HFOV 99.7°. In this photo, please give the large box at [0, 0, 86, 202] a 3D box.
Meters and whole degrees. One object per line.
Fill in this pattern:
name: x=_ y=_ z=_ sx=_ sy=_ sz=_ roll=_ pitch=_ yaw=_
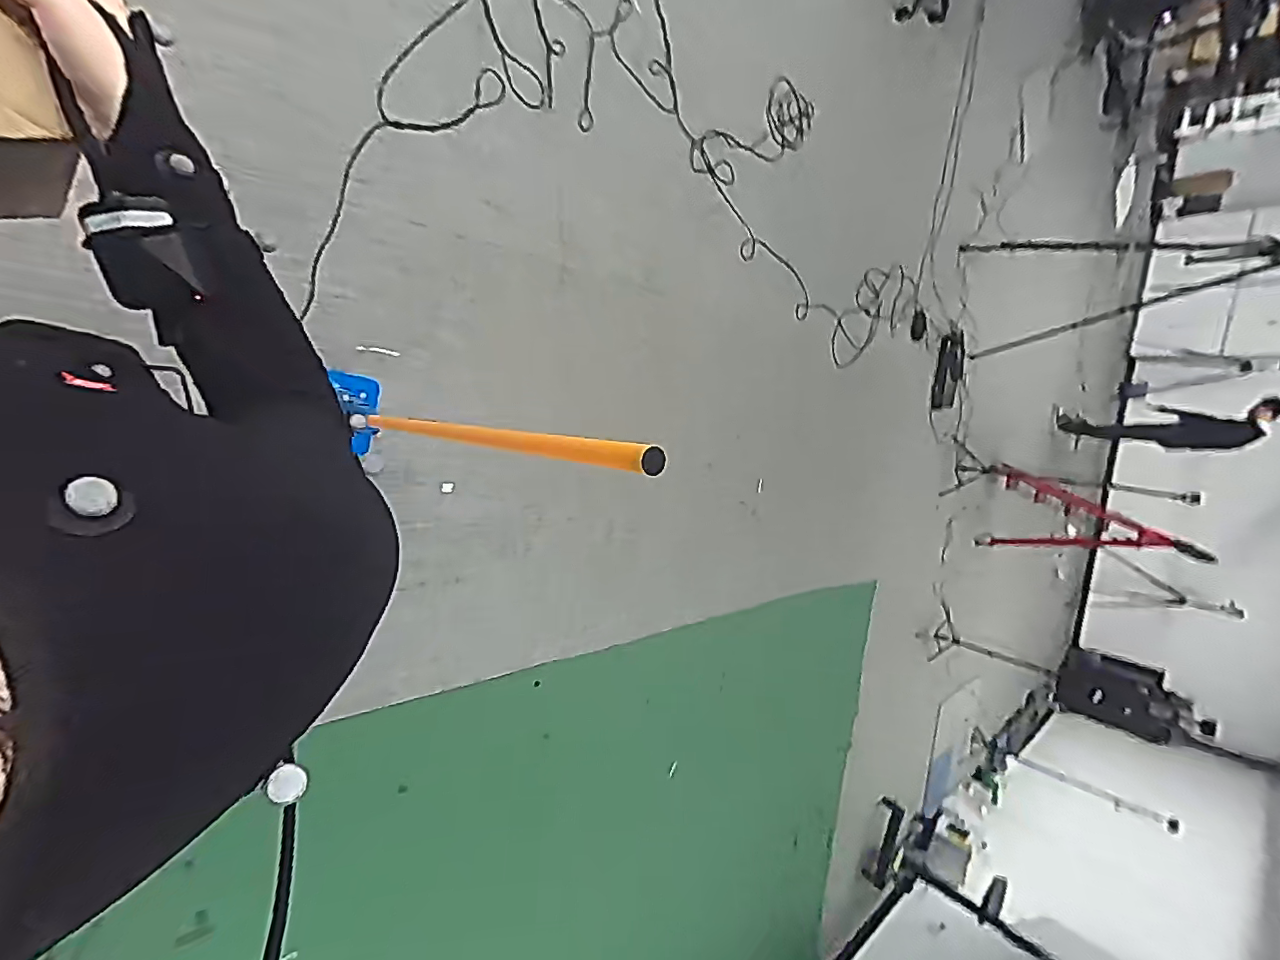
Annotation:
large box: x=-0.616 y=-0.323 z=0.255 sx=0.408 sy=0.320 sz=0.320 roll=-29 pitch=121 yaw=-44
